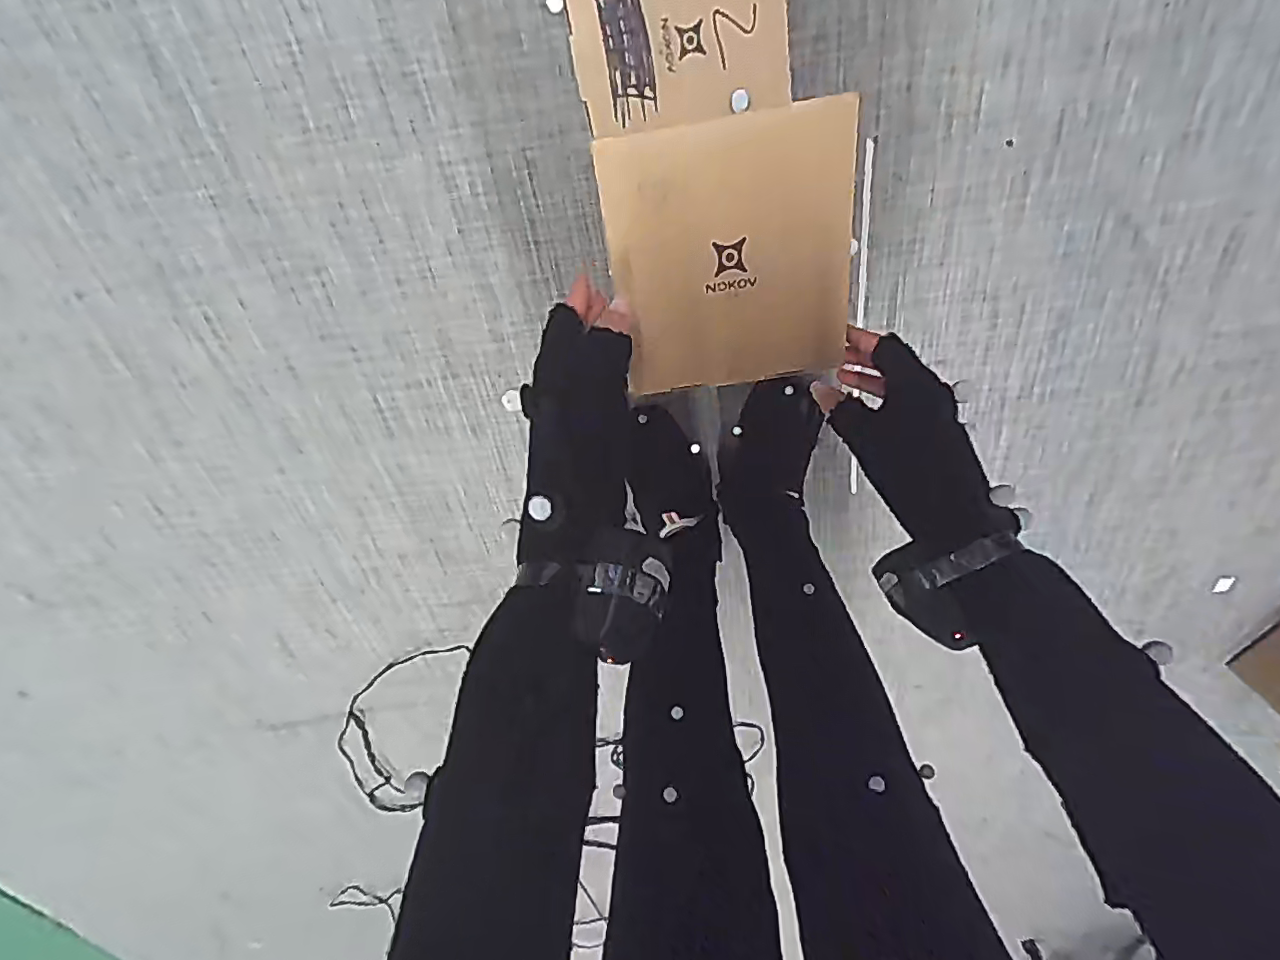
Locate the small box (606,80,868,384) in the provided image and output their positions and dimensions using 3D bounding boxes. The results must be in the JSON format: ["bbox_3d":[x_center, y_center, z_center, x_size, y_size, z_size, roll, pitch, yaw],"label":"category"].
[{"bbox_3d":[0.069,-0.198,0.441,0.168,0.176,0.179,-7,122,5],"label":"small box"}]

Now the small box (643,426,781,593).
[{"bbox_3d":[0.100,0.041,0.817,0.168,0.176,0.179,-9,124,-4],"label":"small box"}]
